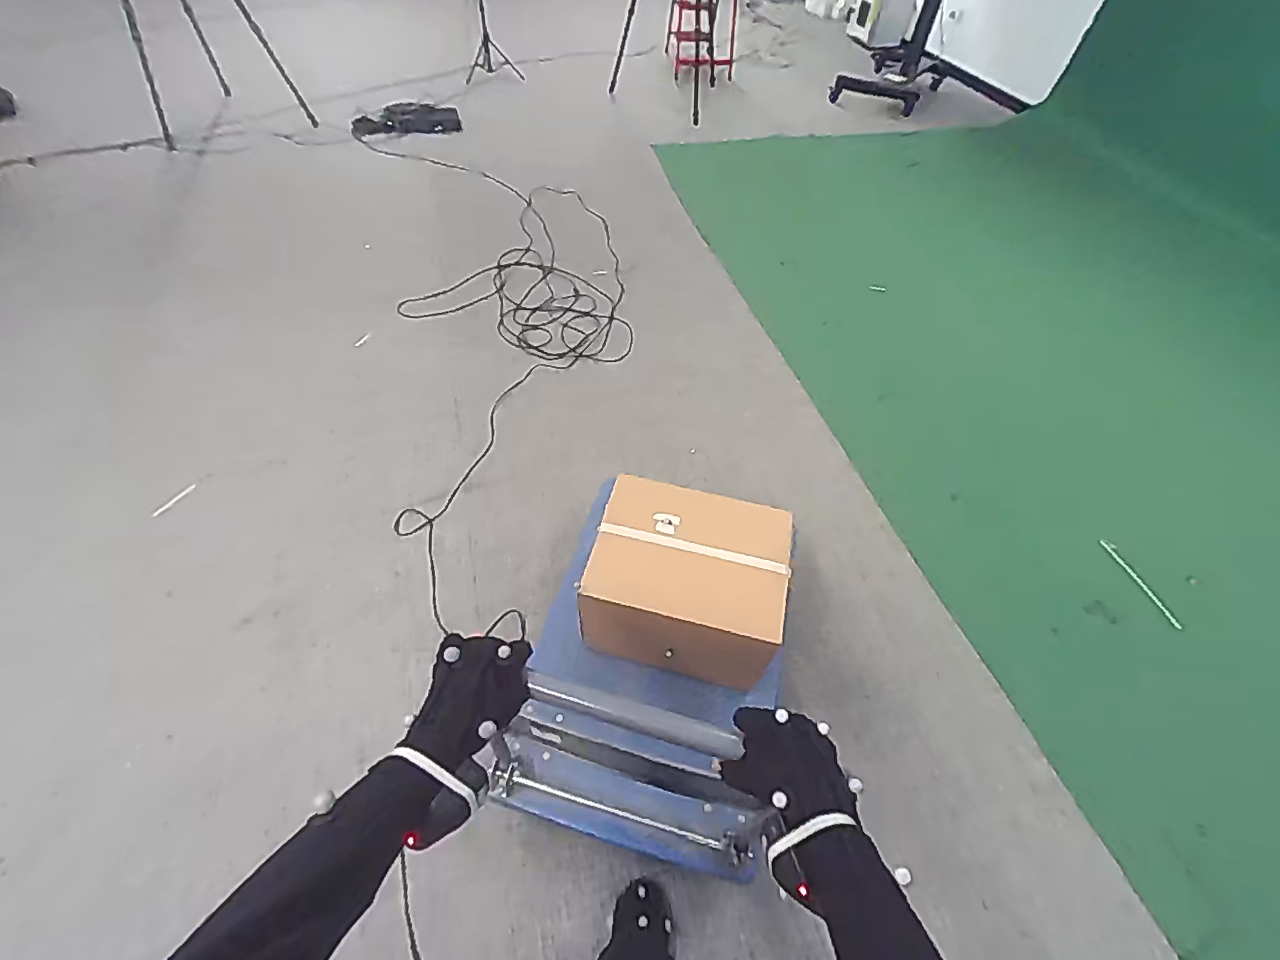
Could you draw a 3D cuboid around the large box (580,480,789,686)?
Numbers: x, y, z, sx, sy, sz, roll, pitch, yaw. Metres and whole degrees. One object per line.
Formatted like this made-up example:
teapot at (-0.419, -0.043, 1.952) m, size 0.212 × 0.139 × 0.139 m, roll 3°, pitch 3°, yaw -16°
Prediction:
large box at (0.105, 0.244, 1.257) m, size 0.408 × 0.320 × 0.320 m, roll 12°, pitch 53°, yaw 7°
